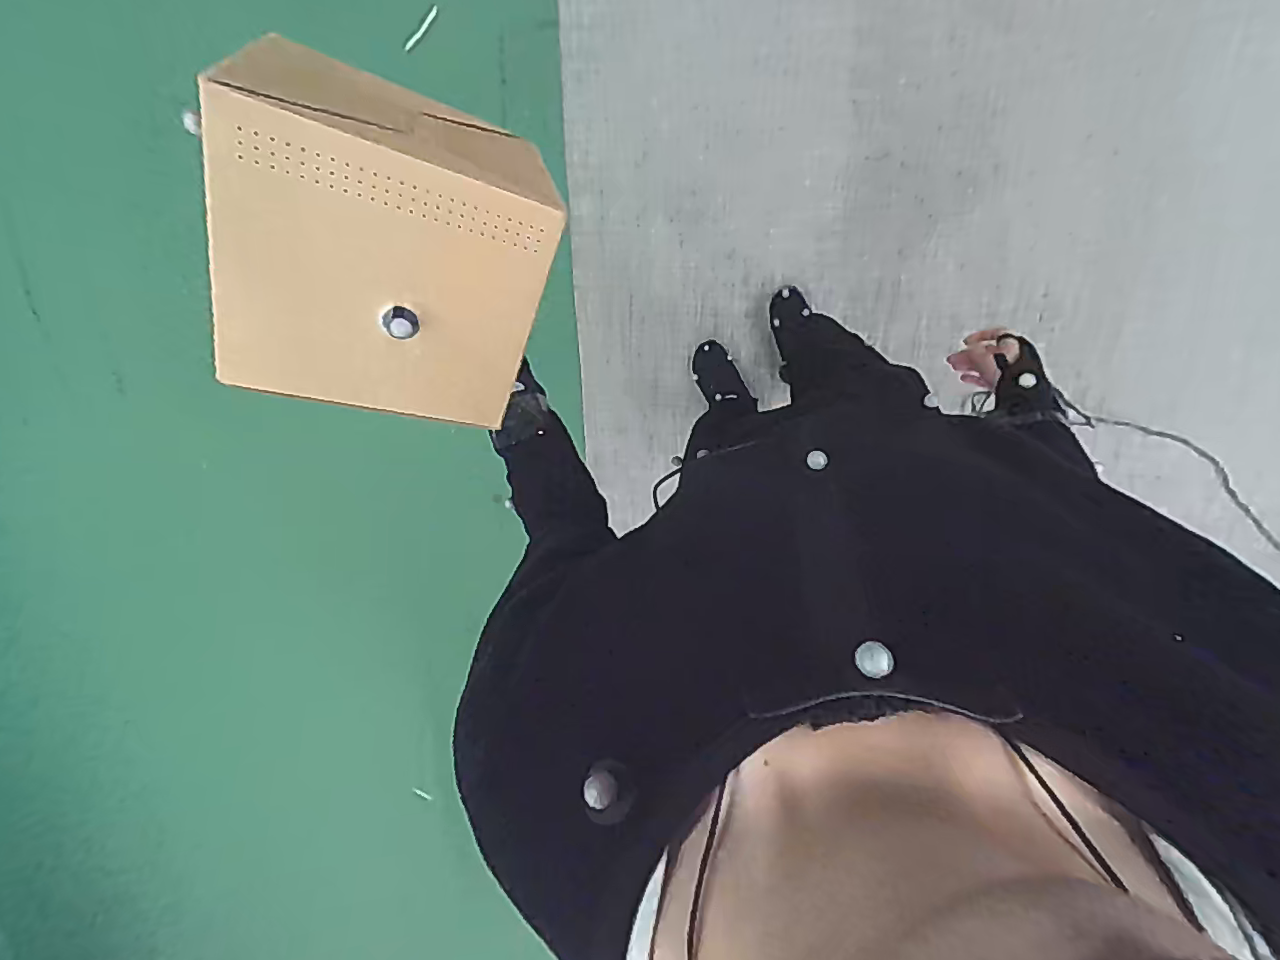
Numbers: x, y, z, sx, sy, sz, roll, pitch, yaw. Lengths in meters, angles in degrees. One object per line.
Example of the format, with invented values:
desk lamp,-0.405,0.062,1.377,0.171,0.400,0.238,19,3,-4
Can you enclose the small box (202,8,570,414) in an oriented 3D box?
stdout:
small box,-0.167,-0.172,0.364,0.179,0.168,0.176,8,131,-27
